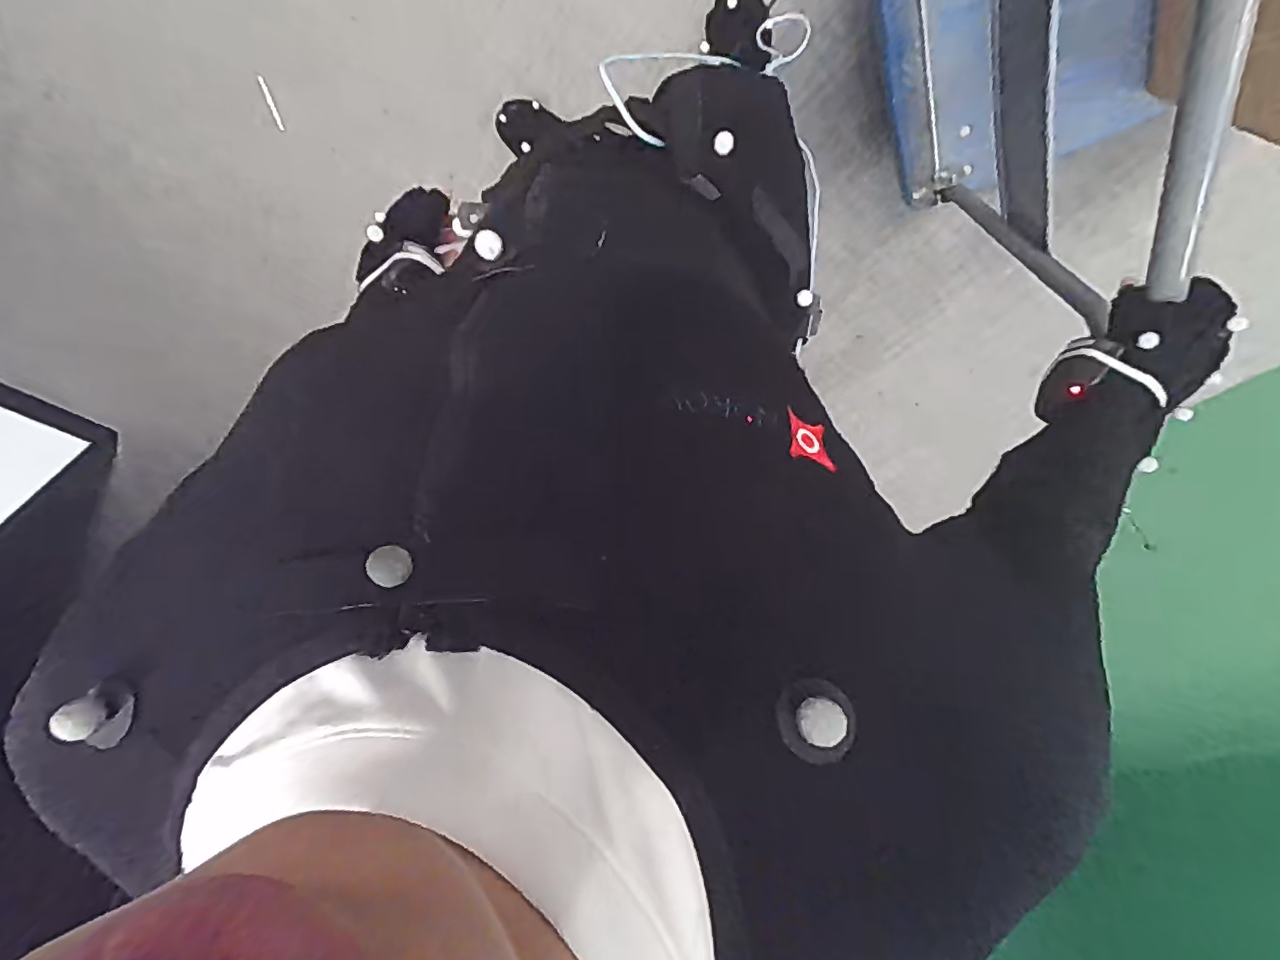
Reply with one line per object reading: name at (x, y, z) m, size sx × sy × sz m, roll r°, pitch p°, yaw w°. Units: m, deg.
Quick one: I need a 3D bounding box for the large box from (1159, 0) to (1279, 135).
large box at (0.870, -0.703, 0.609) m, size 0.320 × 0.320 × 0.408 m, roll -19°, pitch 131°, yaw 23°
